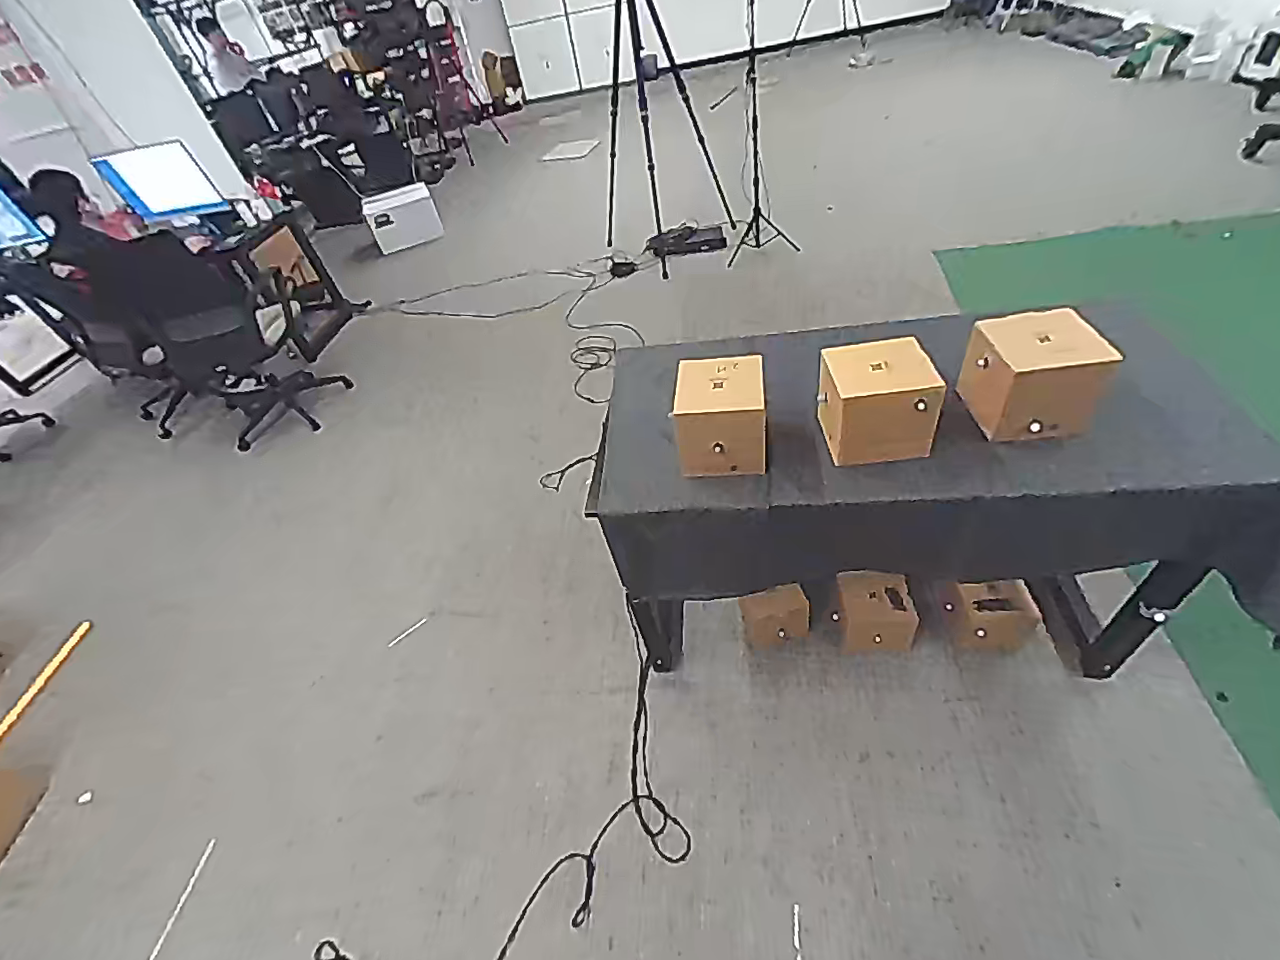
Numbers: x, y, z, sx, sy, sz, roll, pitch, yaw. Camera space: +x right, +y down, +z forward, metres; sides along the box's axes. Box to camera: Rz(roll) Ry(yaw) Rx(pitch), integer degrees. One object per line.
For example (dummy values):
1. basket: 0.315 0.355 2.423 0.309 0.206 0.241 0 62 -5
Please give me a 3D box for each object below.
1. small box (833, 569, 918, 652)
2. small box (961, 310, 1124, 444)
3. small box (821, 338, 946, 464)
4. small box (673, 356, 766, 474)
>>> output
1. small box: 0.649 0.367 1.510 0.179 0.176 0.168 -5 45 10
2. small box: 0.728 -0.190 1.006 0.168 0.176 0.179 -6 45 10
3. small box: 0.449 -0.145 1.032 0.179 0.176 0.168 -6 44 7
4. small box: 0.165 -0.124 1.077 0.168 0.176 0.179 -1 45 12
